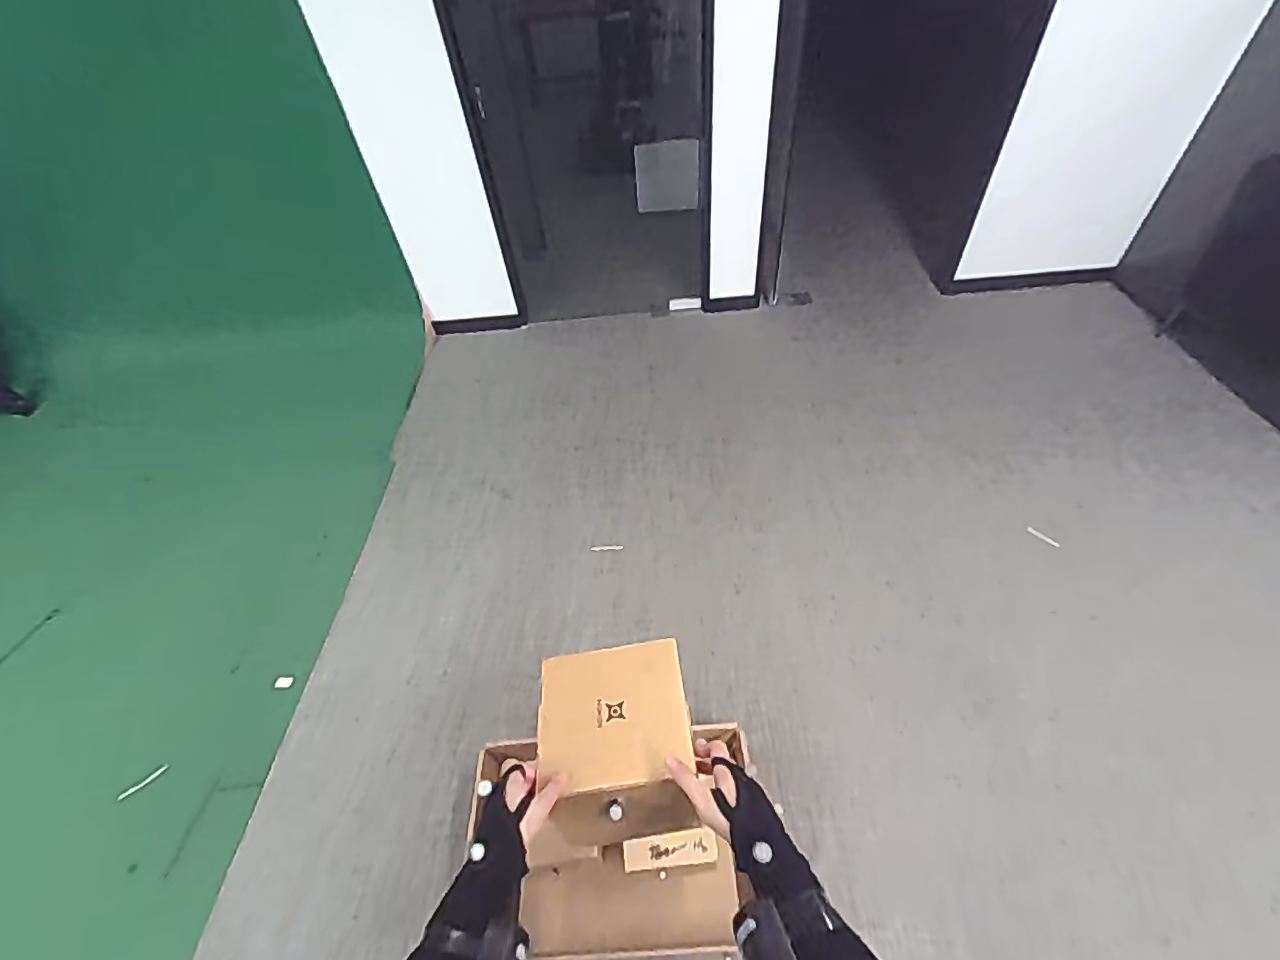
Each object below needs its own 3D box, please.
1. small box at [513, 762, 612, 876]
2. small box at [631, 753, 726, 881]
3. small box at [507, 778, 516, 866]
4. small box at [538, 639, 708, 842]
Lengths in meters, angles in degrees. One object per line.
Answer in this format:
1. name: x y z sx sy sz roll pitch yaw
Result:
1. small box: -0.148 0.666 1.068 0.168 0.176 0.179 -7 50 -3
2. small box: 0.070 0.654 1.048 0.168 0.176 0.179 -8 48 2
3. small box: -0.185 0.763 1.203 0.179 0.176 0.168 -6 50 -1
4. small box: -0.015 0.326 0.674 0.179 0.176 0.168 -12 41 3
